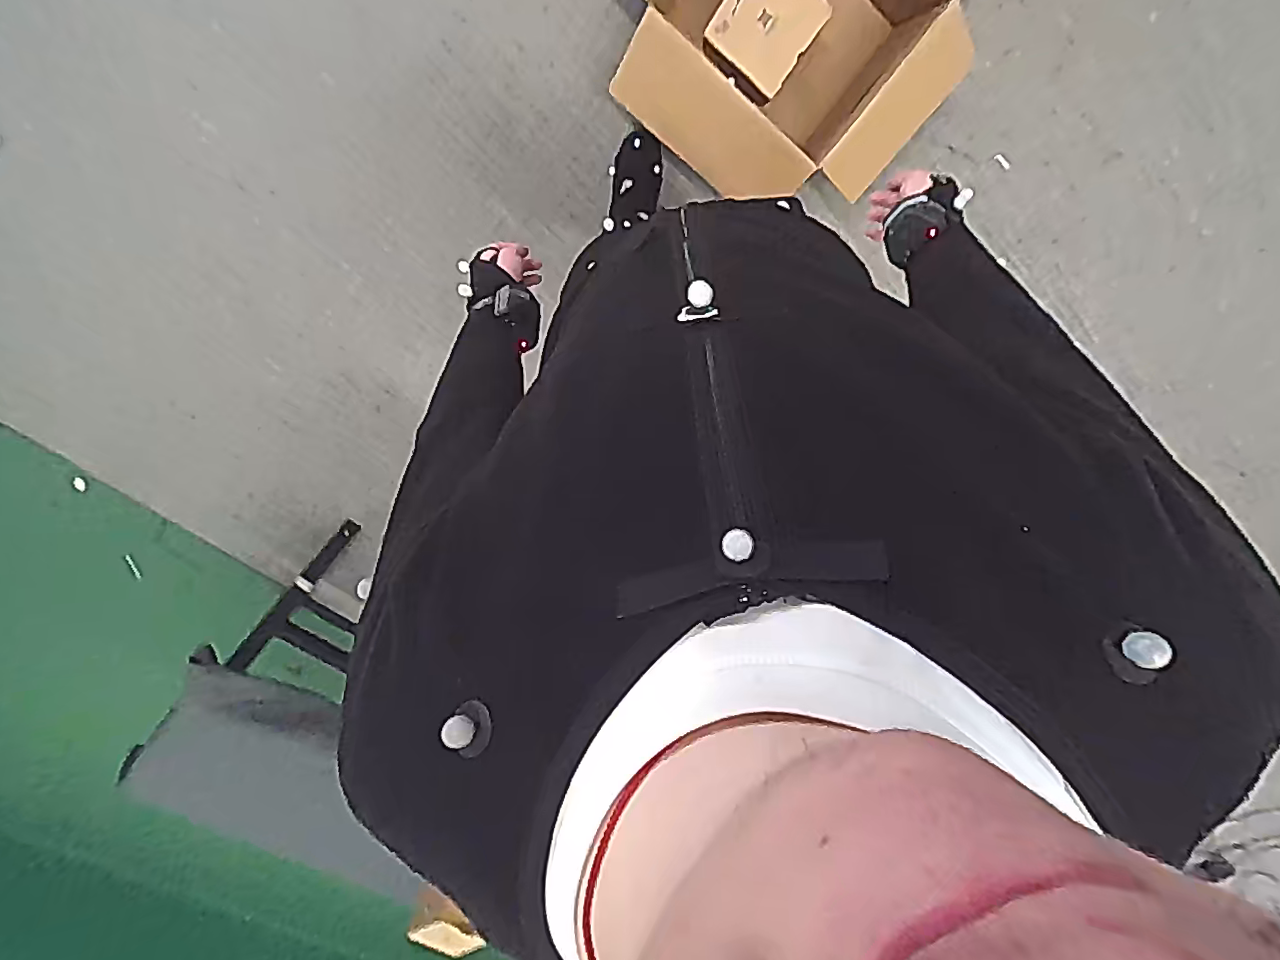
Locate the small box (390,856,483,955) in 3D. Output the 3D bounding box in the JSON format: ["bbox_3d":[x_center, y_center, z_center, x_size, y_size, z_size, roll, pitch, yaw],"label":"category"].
[{"bbox_3d":[-0.580,1.232,1.572,0.179,0.176,0.168,-38,110,24],"label":"small box"}]
